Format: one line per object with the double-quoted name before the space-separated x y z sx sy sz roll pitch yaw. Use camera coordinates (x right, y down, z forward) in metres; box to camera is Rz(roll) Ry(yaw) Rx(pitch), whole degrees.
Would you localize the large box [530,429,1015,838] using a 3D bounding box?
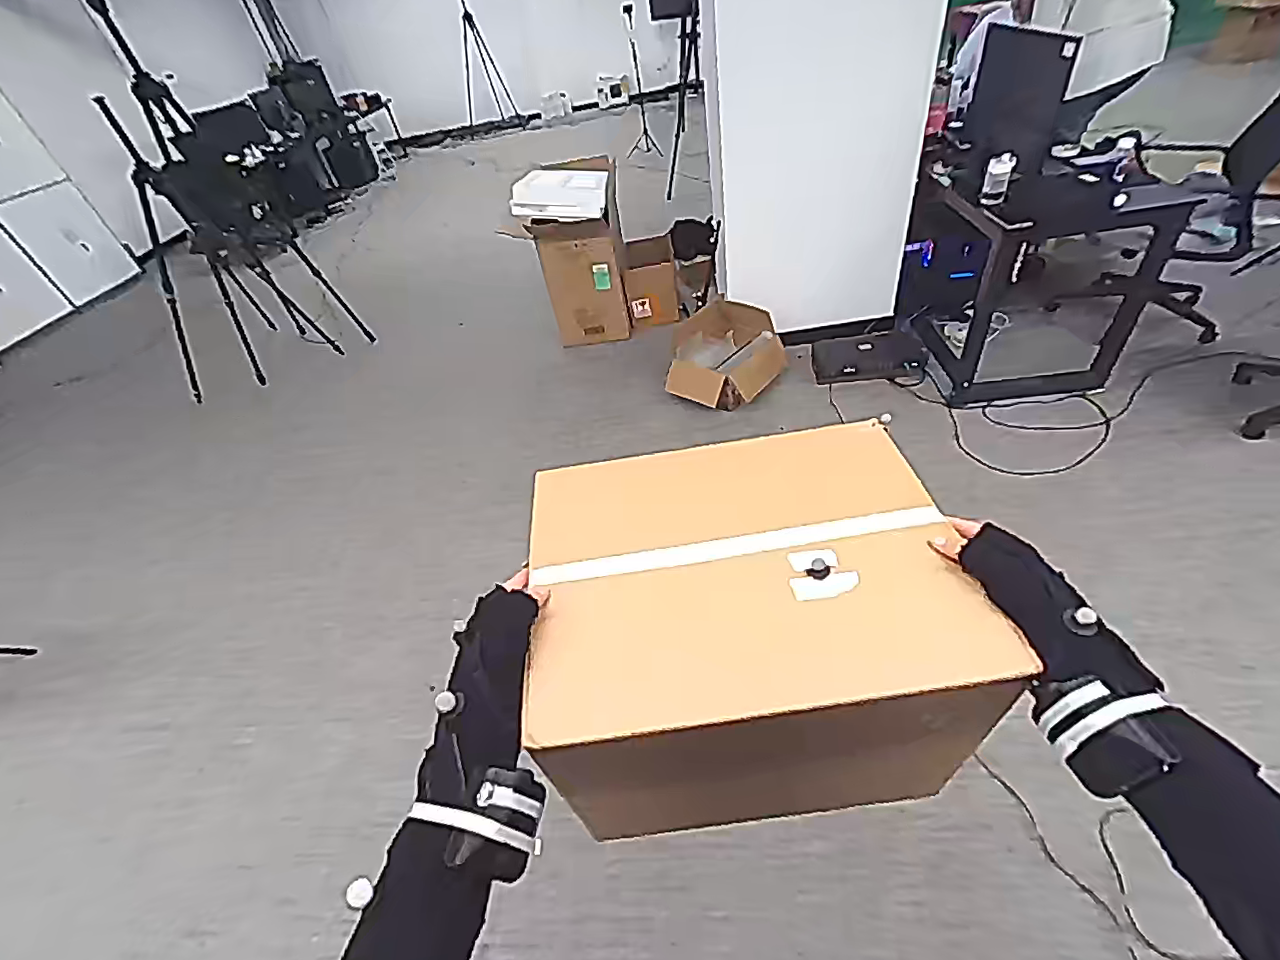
"large box" 0.107 0.180 0.638 0.408 0.320 0.320 -9 44 1
